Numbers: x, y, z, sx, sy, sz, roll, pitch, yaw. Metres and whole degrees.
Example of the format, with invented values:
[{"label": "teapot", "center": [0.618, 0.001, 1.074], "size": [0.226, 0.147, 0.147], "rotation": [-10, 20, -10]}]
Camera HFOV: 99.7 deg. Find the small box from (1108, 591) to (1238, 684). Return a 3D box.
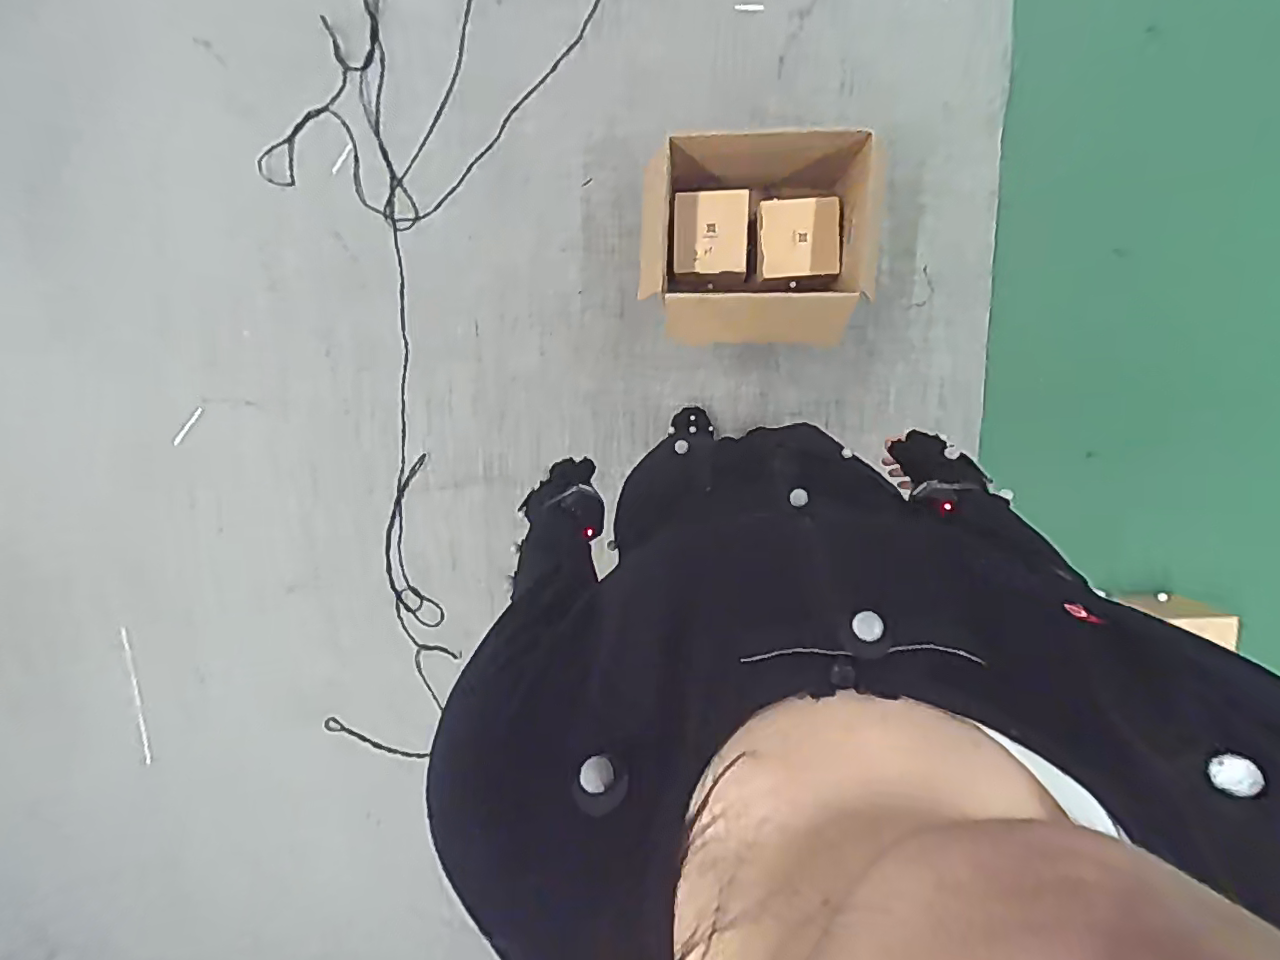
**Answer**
[{"label": "small box", "center": [1.344, 0.397, 1.377], "size": [0.168, 0.176, 0.179], "rotation": [-3, 98, 4]}]
